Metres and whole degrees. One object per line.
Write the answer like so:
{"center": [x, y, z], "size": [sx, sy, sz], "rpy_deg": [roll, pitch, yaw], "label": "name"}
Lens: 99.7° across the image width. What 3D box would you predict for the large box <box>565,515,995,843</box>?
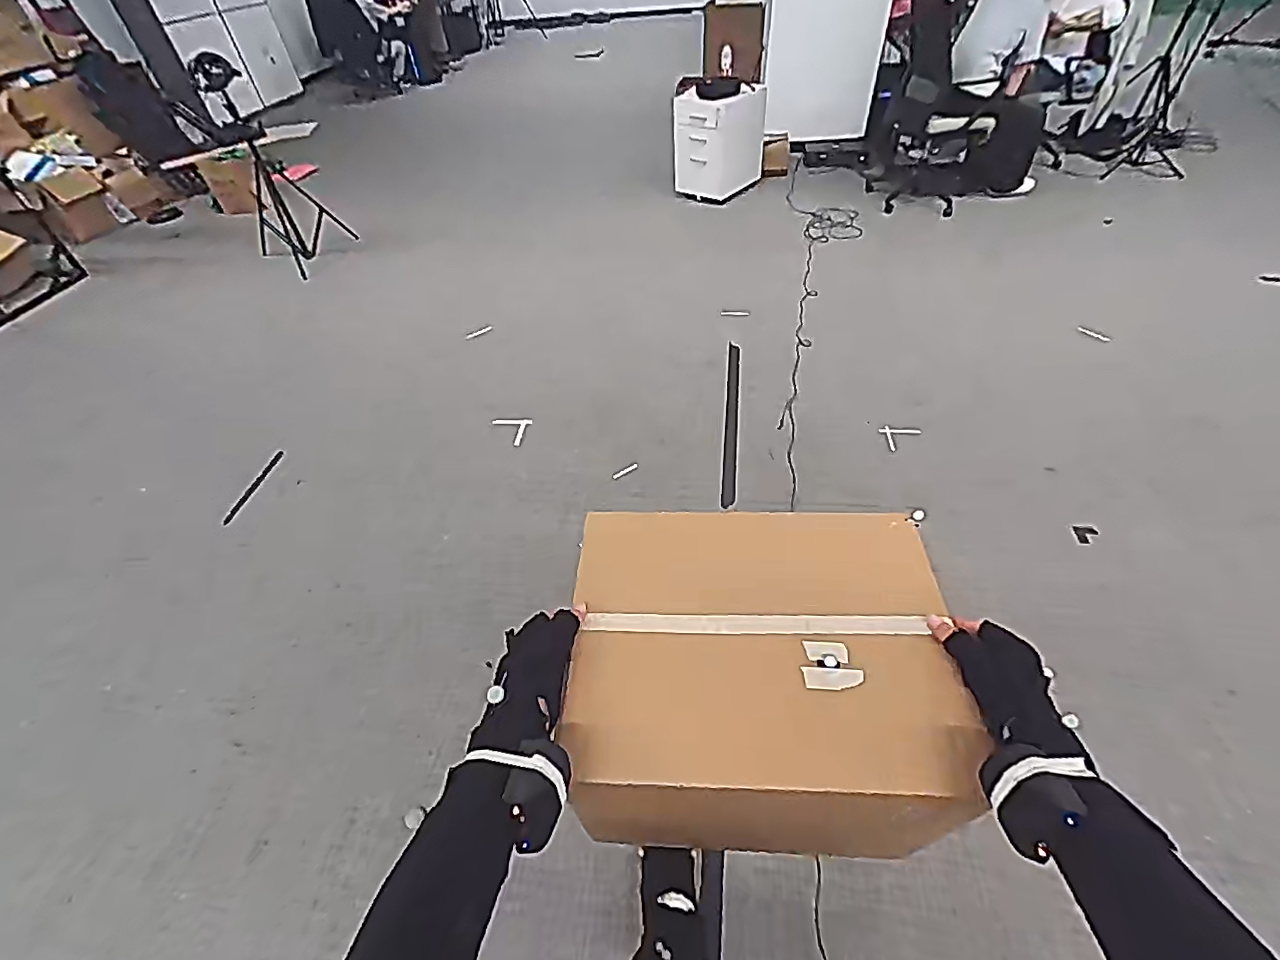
{"center": [0.136, 0.261, 0.706], "size": [0.408, 0.320, 0.320], "rpy_deg": [0, 48, 4], "label": "large box"}
